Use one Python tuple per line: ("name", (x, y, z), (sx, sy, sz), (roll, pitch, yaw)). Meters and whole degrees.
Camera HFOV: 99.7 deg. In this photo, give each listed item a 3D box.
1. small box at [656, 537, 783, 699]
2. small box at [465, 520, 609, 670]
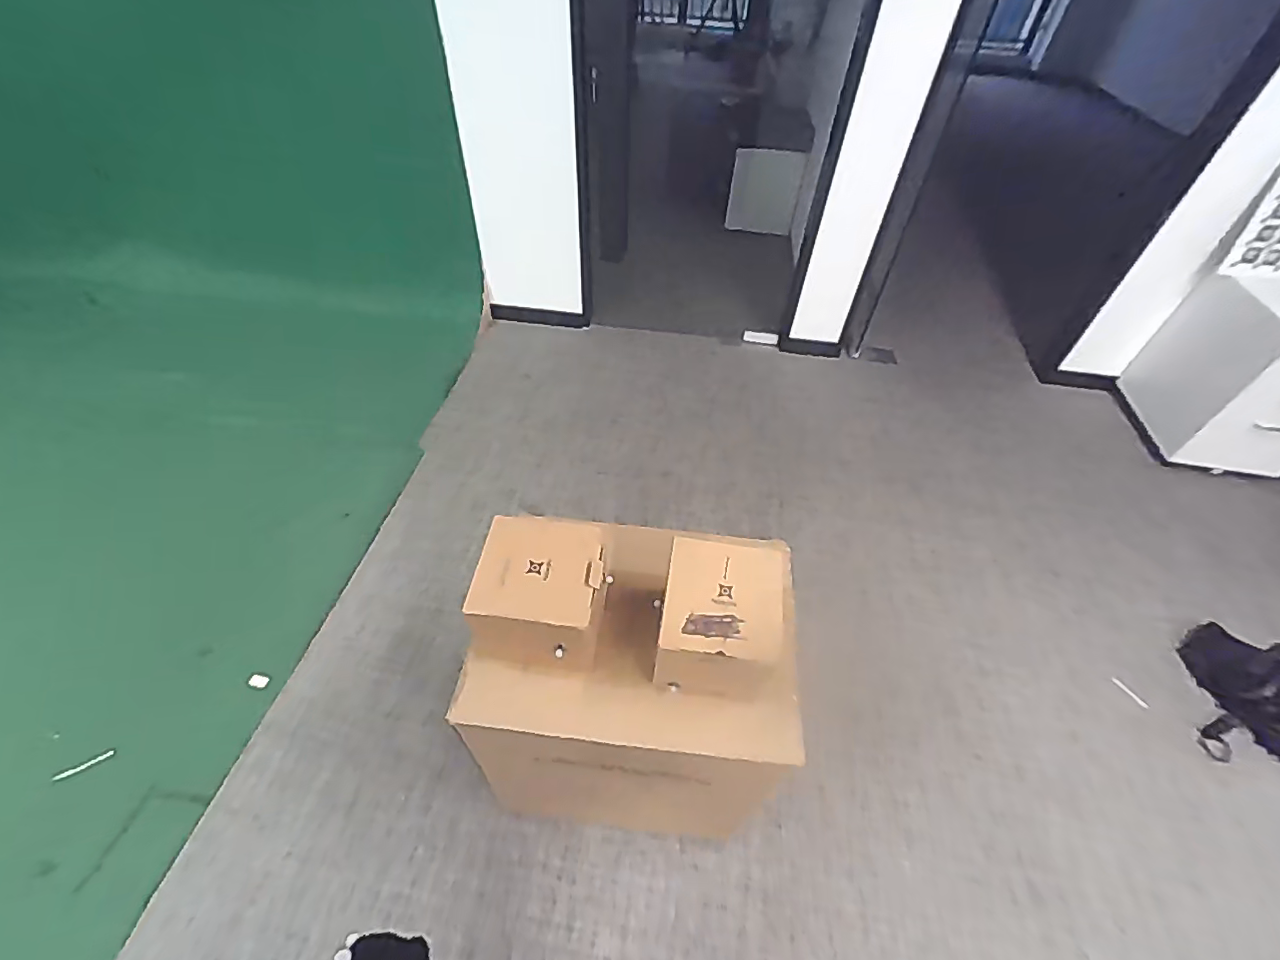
("small box", (0.117, 0.214, 0.822), (0.168, 0.176, 0.179), (8, 51, 5))
("small box", (-0.146, 0.183, 0.845), (0.179, 0.176, 0.168), (5, 50, 4))
